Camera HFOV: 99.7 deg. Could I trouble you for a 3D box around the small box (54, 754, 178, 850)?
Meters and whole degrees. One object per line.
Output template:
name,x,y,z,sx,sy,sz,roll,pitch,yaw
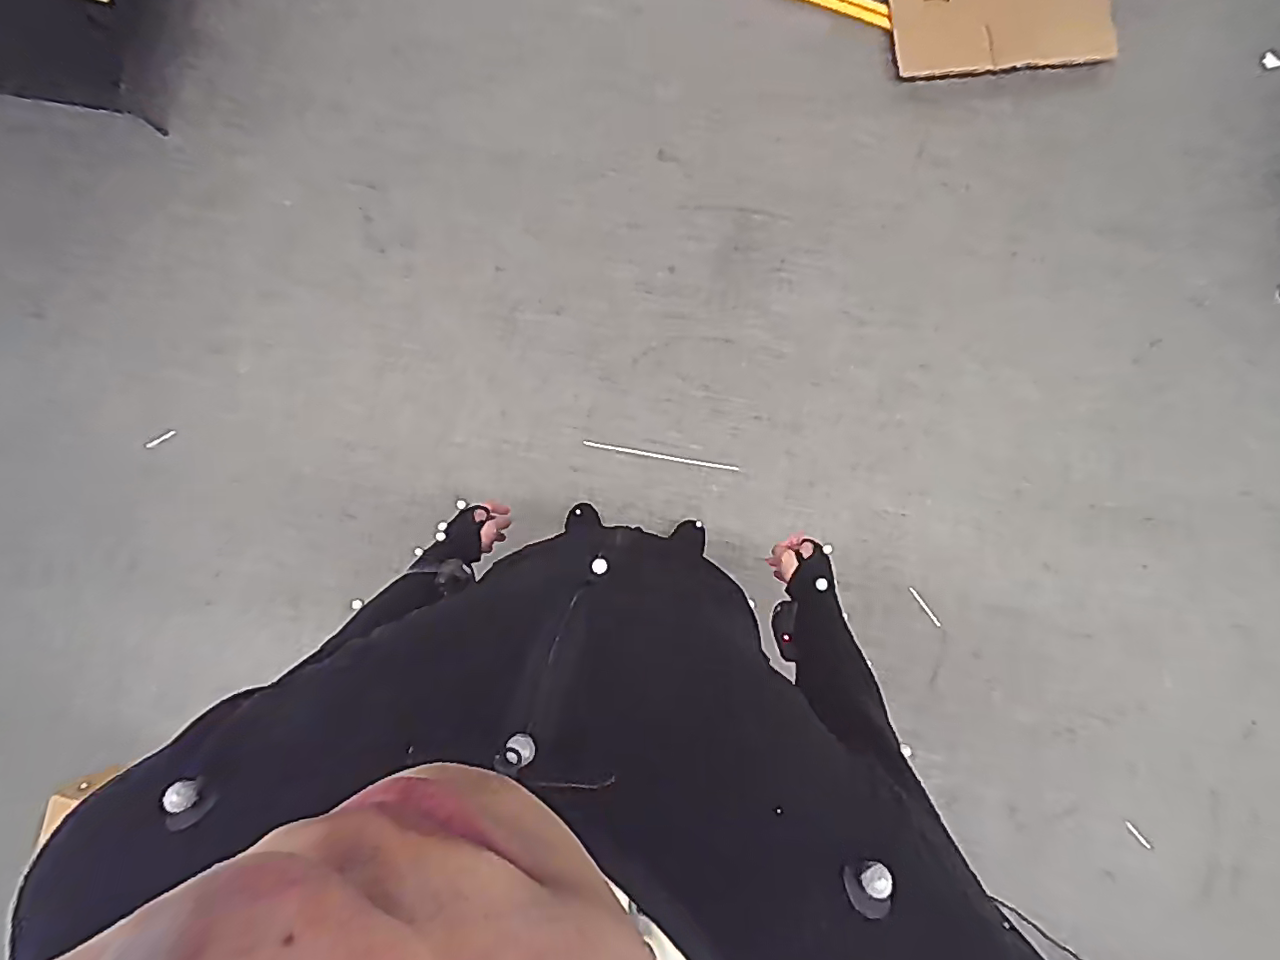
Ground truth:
small box,-1.513,0.924,1.571,0.179,0.176,0.168,12,88,2
